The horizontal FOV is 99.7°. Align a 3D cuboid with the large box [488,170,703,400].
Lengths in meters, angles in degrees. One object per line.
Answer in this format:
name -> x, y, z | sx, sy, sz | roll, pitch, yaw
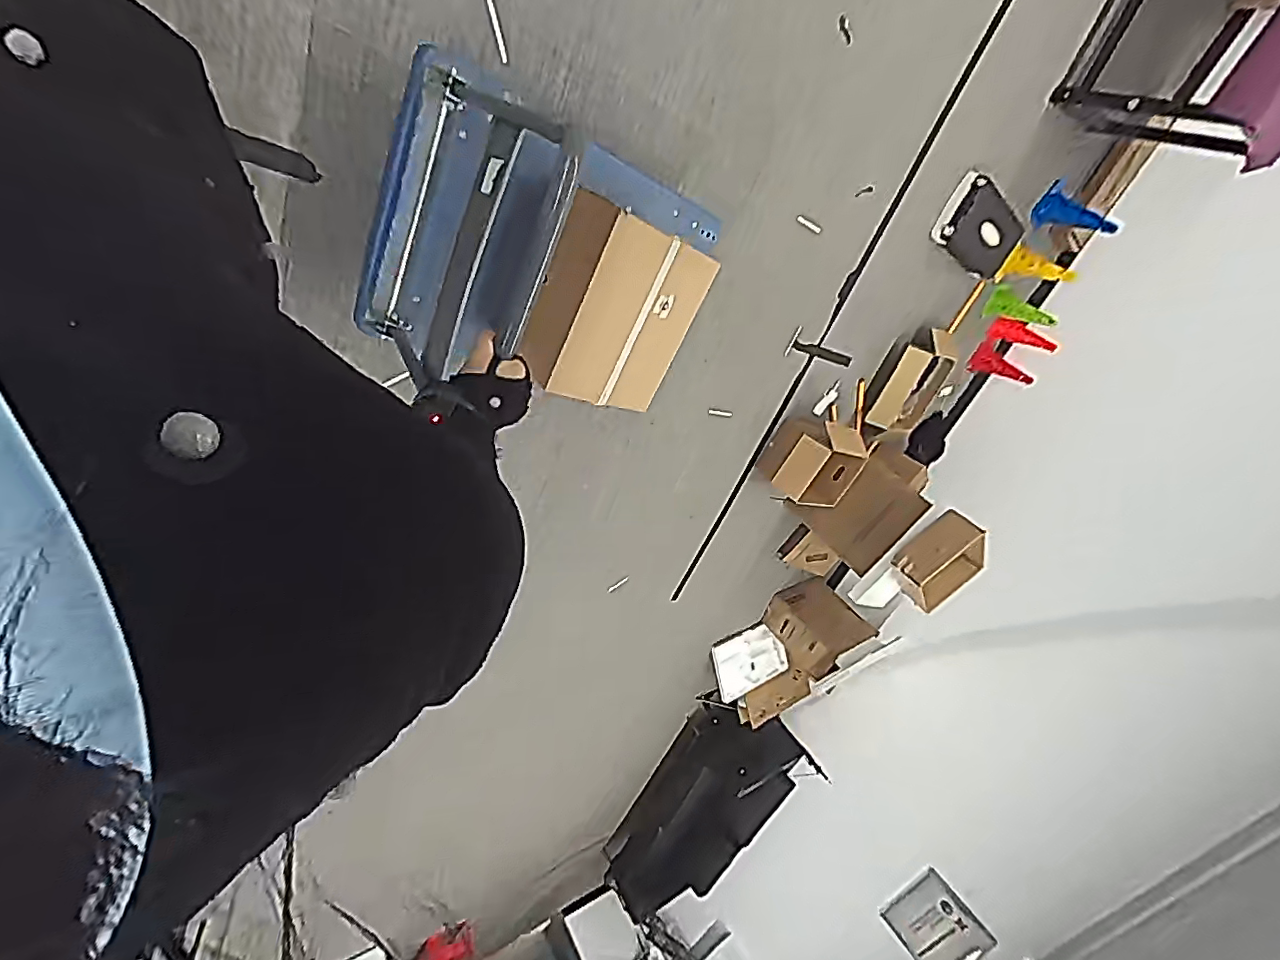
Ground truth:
large box -> -0.125, -0.459, 1.321 | 0.320, 0.320, 0.408 | 5, 121, -44
